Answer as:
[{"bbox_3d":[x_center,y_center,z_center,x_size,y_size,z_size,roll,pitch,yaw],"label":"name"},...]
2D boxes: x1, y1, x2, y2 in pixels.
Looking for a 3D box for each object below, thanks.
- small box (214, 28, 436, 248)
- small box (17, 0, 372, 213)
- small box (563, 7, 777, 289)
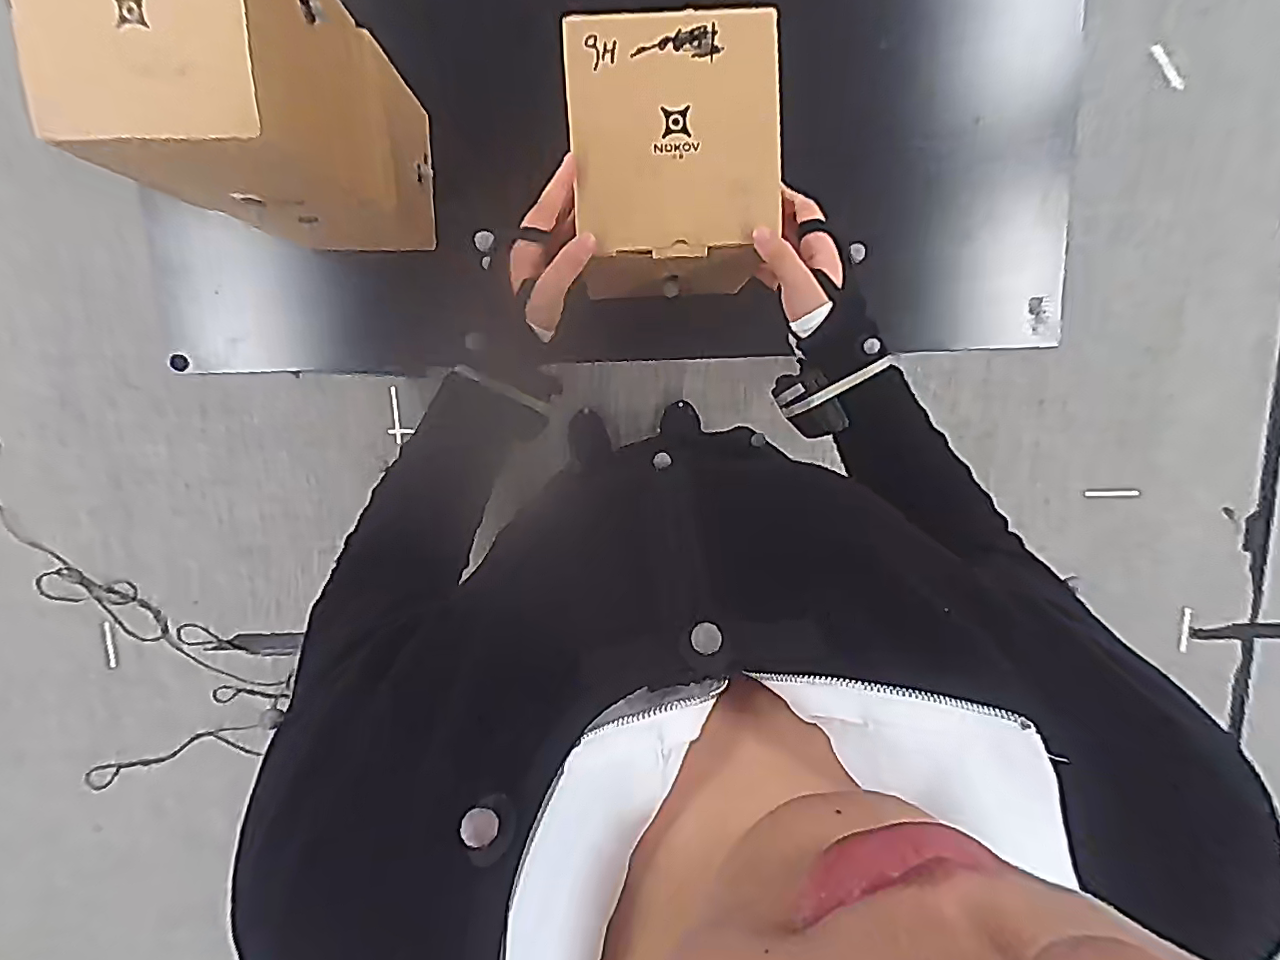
[{"bbox_3d":[-0.353,-0.373,0.618,0.179,0.176,0.168,-1,99,-2],"label":"small box"},{"bbox_3d":[-0.352,-0.347,0.458,0.168,0.176,0.179,-1,100,1],"label":"small box"},{"bbox_3d":[0.025,-0.282,0.503,0.168,0.176,0.179,-4,98,-1],"label":"small box"}]
